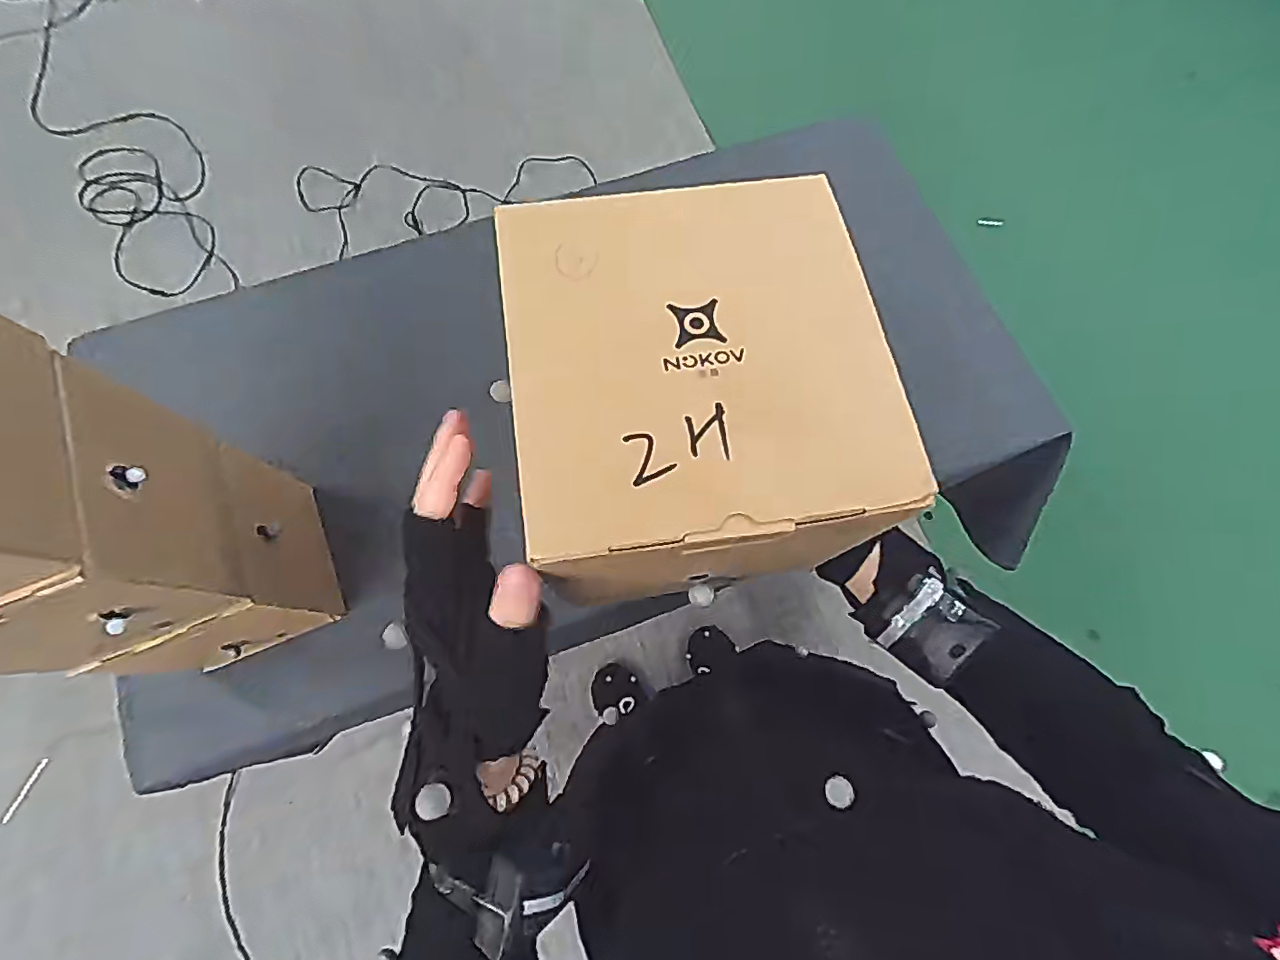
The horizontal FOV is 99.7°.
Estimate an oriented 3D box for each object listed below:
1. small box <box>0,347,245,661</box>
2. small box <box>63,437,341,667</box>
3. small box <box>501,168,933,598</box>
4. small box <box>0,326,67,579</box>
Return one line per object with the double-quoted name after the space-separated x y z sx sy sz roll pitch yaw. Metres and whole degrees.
-0.452 0.033 0.423 0.168 0.176 0.179 -21 75 -8 "small box"
-0.456 0.083 0.578 0.168 0.176 0.179 -22 75 -7 "small box"
0.022 -0.039 0.310 0.168 0.176 0.179 -8 72 -4 "small box"
-0.451 -0.020 0.268 0.168 0.176 0.179 -22 75 -9 "small box"
